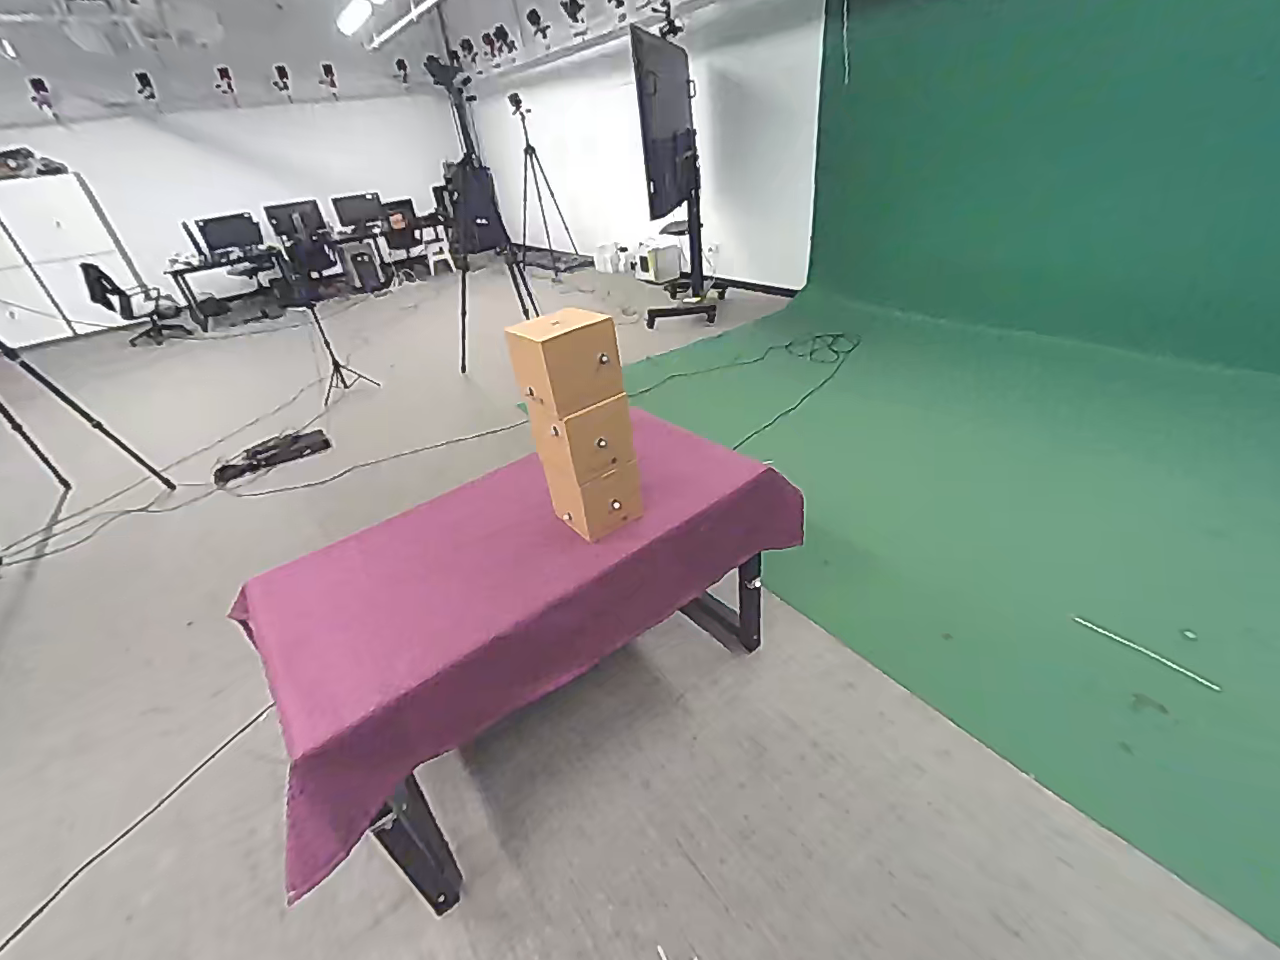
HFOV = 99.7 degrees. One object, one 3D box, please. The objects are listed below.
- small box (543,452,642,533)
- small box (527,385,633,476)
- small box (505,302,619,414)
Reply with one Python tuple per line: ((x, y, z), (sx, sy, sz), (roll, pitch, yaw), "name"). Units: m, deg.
((-0.112, 0.008, 1.332), (0.168, 0.176, 0.179), (-28, 39, -28), "small box")
((-0.134, -0.127, 1.239), (0.168, 0.176, 0.179), (-28, 38, -28), "small box")
((-0.159, -0.263, 1.152), (0.179, 0.176, 0.168), (-29, 37, -27), "small box")
